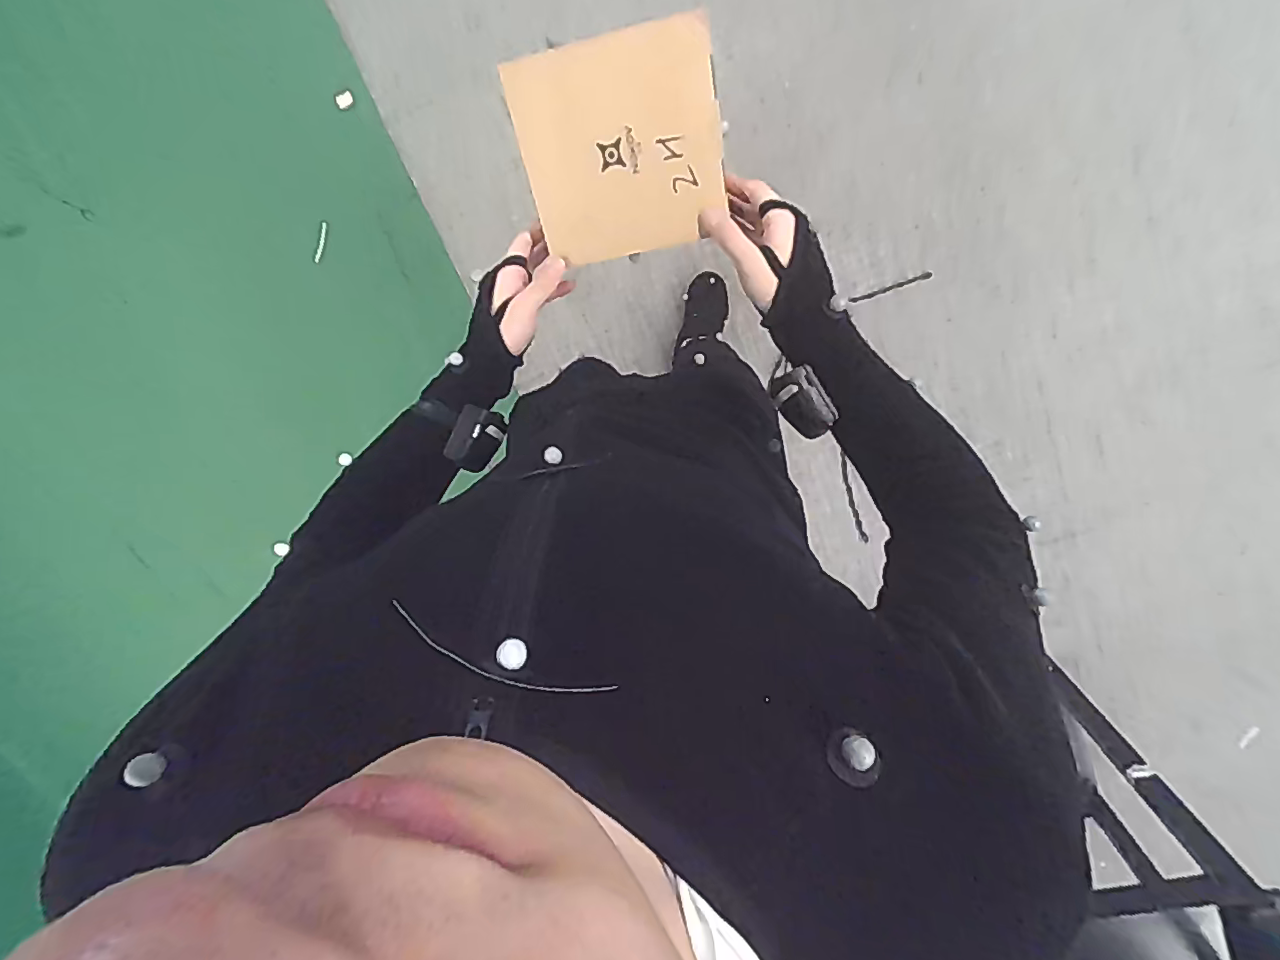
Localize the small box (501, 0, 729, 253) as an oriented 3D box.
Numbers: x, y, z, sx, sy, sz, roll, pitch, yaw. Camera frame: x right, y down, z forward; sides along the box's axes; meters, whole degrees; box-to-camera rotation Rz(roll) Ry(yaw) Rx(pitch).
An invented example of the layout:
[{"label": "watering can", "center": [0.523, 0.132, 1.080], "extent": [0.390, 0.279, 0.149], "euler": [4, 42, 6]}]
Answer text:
[{"label": "small box", "center": [-0.011, -0.341, 0.538], "extent": [0.179, 0.176, 0.168], "euler": [-8, 123, 9]}]
